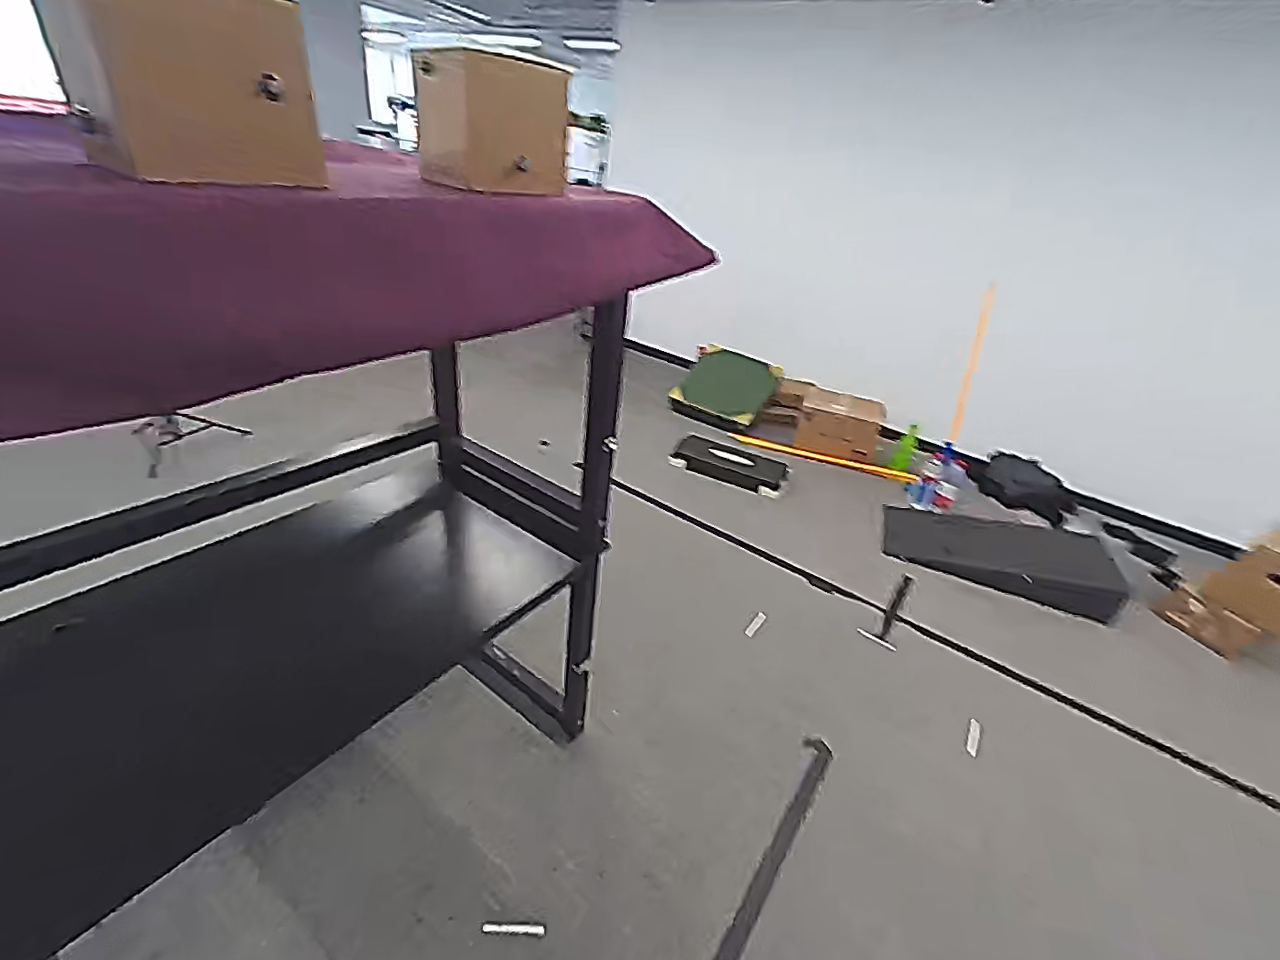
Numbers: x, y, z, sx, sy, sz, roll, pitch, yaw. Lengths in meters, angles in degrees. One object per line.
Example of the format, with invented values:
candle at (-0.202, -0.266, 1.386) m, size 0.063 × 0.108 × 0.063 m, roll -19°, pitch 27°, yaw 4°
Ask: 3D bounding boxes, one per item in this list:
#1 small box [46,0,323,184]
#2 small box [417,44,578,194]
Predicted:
small box at (-0.452, -0.406, 0.552) m, size 0.168 × 0.176 × 0.179 m, roll 25°, pitch 35°, yaw 29°
small box at (-0.217, -0.540, 0.824) m, size 0.179 × 0.176 × 0.168 m, roll -21°, pitch 41°, yaw -39°
